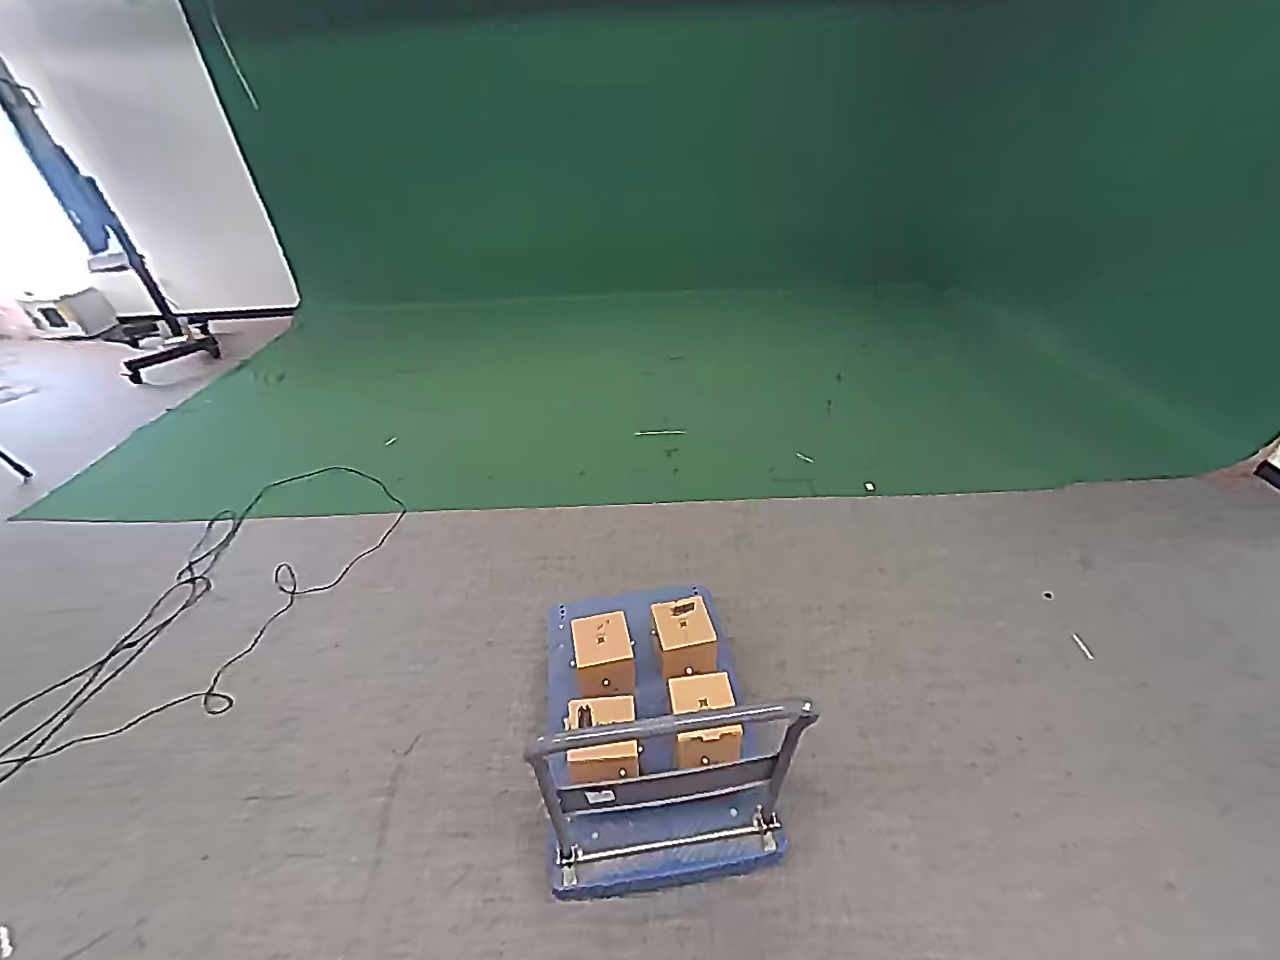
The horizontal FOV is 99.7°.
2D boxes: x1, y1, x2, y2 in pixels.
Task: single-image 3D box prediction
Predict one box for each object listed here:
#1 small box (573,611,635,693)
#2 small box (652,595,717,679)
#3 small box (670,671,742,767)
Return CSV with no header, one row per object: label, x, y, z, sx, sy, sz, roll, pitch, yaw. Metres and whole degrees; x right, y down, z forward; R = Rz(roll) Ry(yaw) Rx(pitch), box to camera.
small box,-0.110,0.536,1.668,0.168,0.176,0.179,-8,37,-8
small box,0.136,0.495,1.702,0.168,0.176,0.179,-10,38,-7
small box,0.173,0.657,1.488,0.168,0.176,0.179,-6,37,-4
